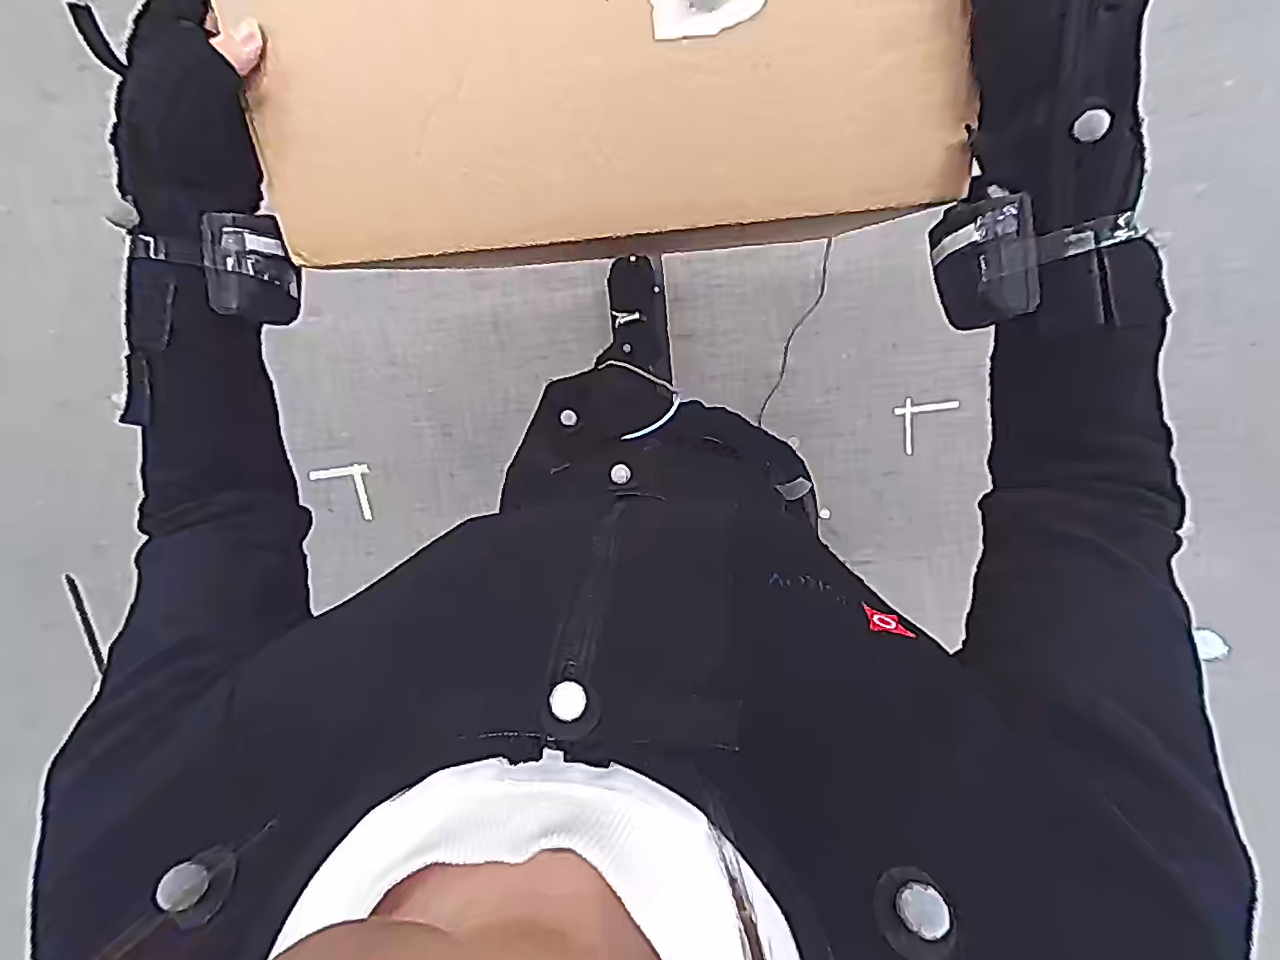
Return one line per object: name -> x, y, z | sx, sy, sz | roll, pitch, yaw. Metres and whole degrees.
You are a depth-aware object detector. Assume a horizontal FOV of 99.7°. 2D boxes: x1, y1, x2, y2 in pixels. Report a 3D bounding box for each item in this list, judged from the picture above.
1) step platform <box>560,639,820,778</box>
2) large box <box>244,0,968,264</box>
step platform -> 0.129, 0.623, 1.467 | 0.684, 0.204, 0.286 | -6, 101, 8
large box -> -0.019, -0.356, 0.418 | 0.408, 0.320, 0.320 | -3, 111, 8
